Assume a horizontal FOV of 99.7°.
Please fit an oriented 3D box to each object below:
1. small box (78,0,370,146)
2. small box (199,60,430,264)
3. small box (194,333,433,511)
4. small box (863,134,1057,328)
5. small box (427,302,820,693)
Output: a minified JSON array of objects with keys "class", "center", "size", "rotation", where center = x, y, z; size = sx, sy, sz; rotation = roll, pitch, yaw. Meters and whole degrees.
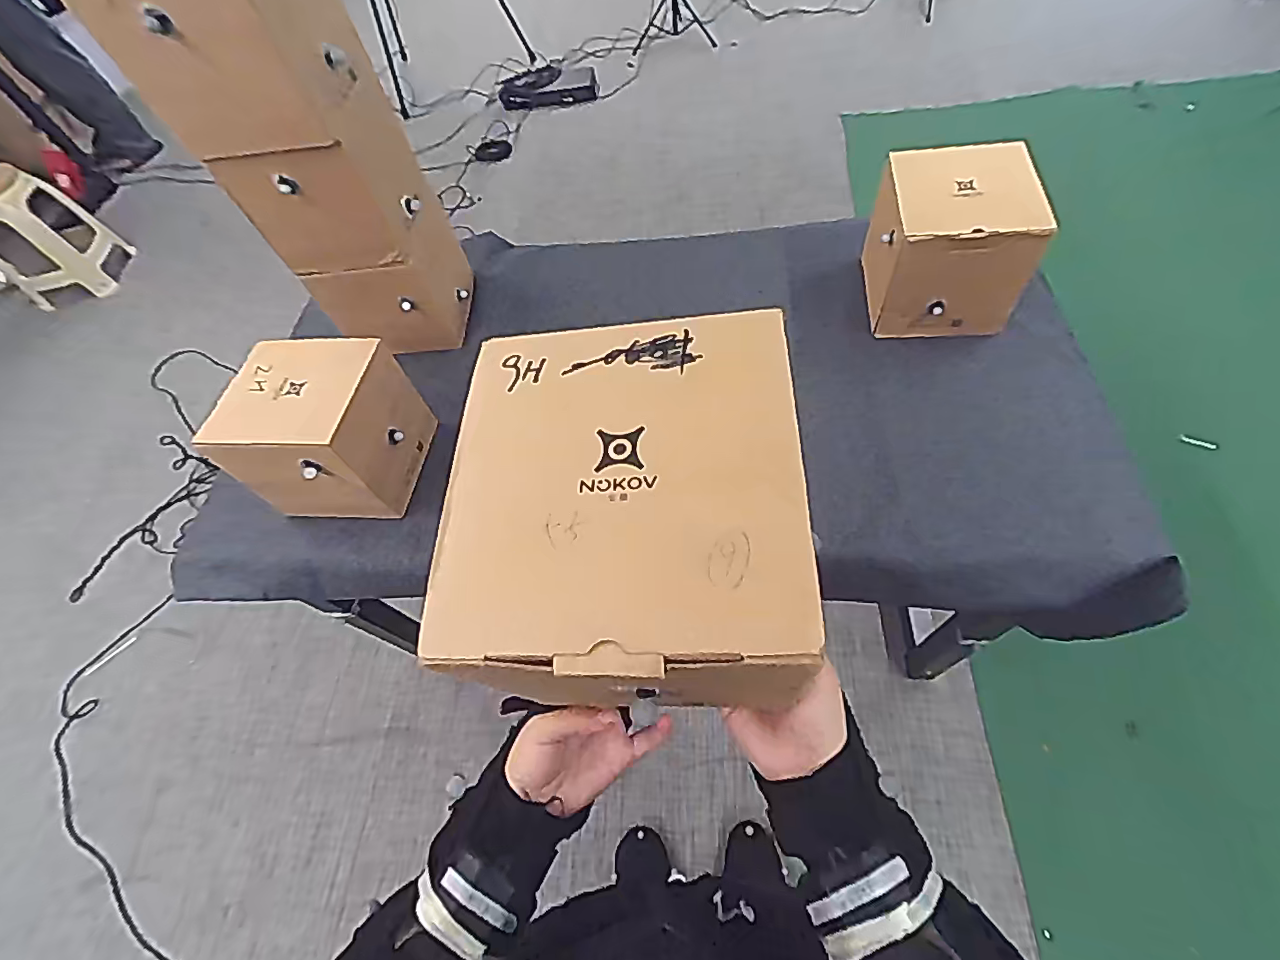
[{"class":"small box","center":[-0.425,-0.479,0.564],"size":[0.179,0.176,0.168],"rotation":[-2,62,6]},{"class":"small box","center":[-0.407,-0.408,0.712],"size":[0.179,0.176,0.168],"rotation":[-4,62,5]},{"class":"small box","center":[-0.399,-0.070,0.701],"size":[0.179,0.176,0.168],"rotation":[1,58,9]},{"class":"small box","center":[0.410,-0.329,0.731],"size":[0.168,0.176,0.179],"rotation":[1,62,10]},{"class":"small box","center":[0.006,0.028,0.320],"size":[0.168,0.176,0.179],"rotation":[-4,63,10]}]
